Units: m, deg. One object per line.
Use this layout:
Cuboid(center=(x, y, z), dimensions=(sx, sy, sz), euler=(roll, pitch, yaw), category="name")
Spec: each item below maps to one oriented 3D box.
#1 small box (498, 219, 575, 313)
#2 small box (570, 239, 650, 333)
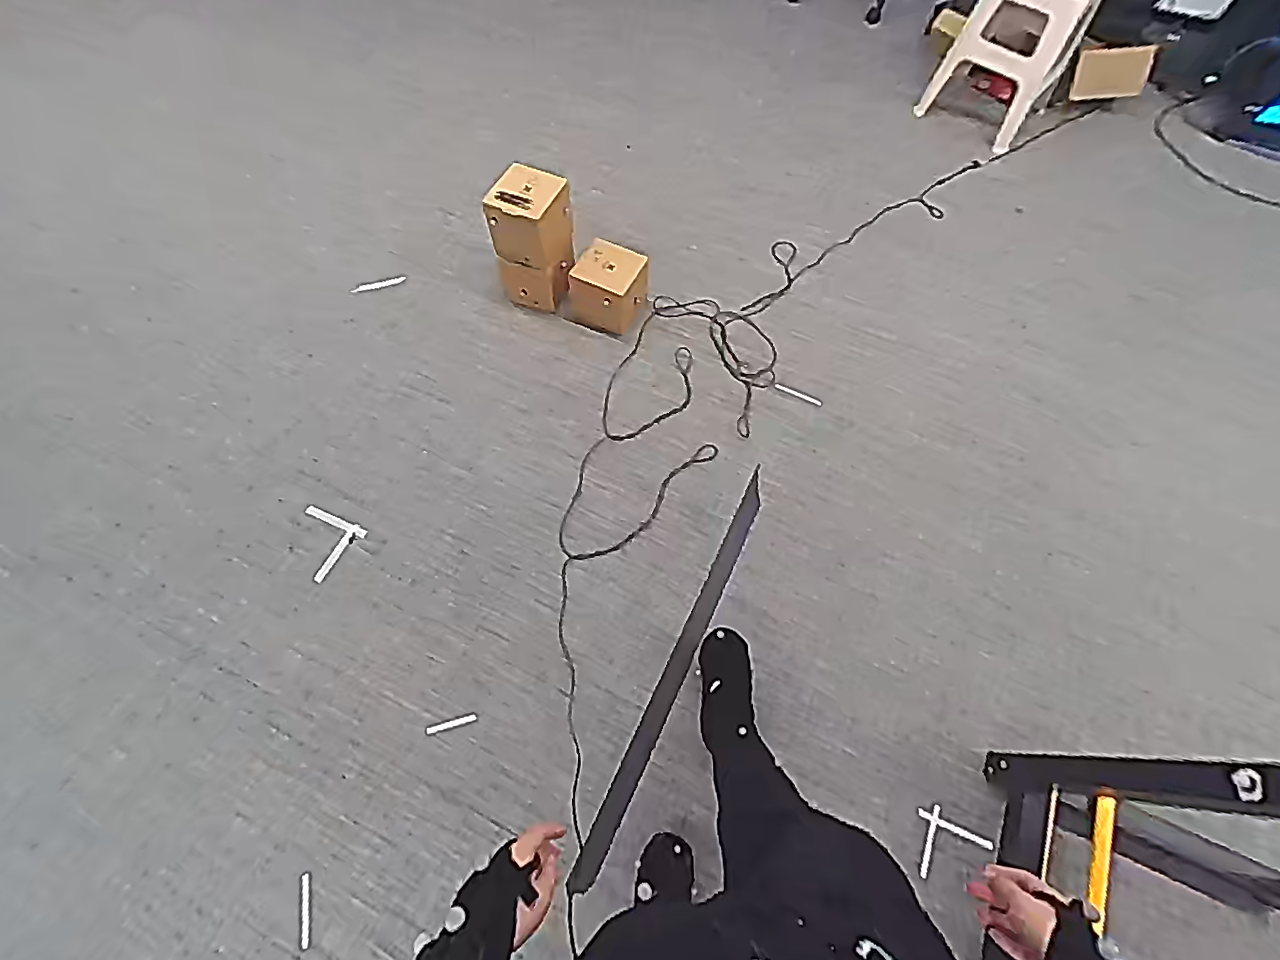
Cuboid(center=(-0.301, -0.640, 1.627), dimensions=(0.168, 0.176, 0.179), euler=(18, 66, 8), category="small box")
Cuboid(center=(-0.084, -0.563, 1.590), dimensions=(0.179, 0.176, 0.168), euler=(25, 66, 11), category="small box")
